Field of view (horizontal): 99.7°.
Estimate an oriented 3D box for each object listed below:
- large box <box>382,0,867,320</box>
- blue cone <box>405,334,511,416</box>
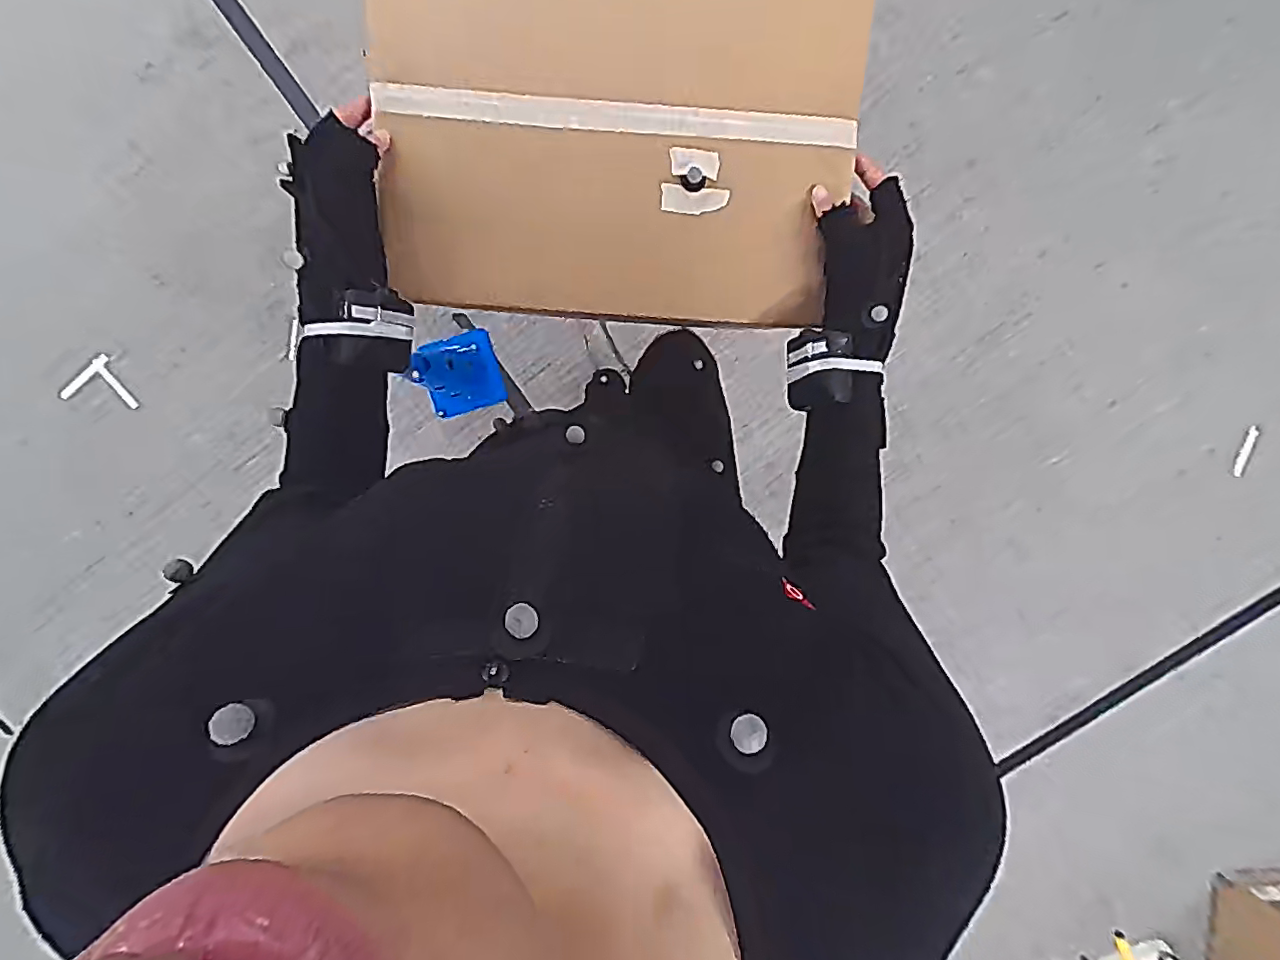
[{"bbox_3d":[-0.021,-0.353,0.606,0.408,0.320,0.320,3,105,-3],"label":"large box"},{"bbox_3d":[-0.460,-0.257,1.284,0.193,0.380,0.192,-14,98,4],"label":"blue cone"}]
